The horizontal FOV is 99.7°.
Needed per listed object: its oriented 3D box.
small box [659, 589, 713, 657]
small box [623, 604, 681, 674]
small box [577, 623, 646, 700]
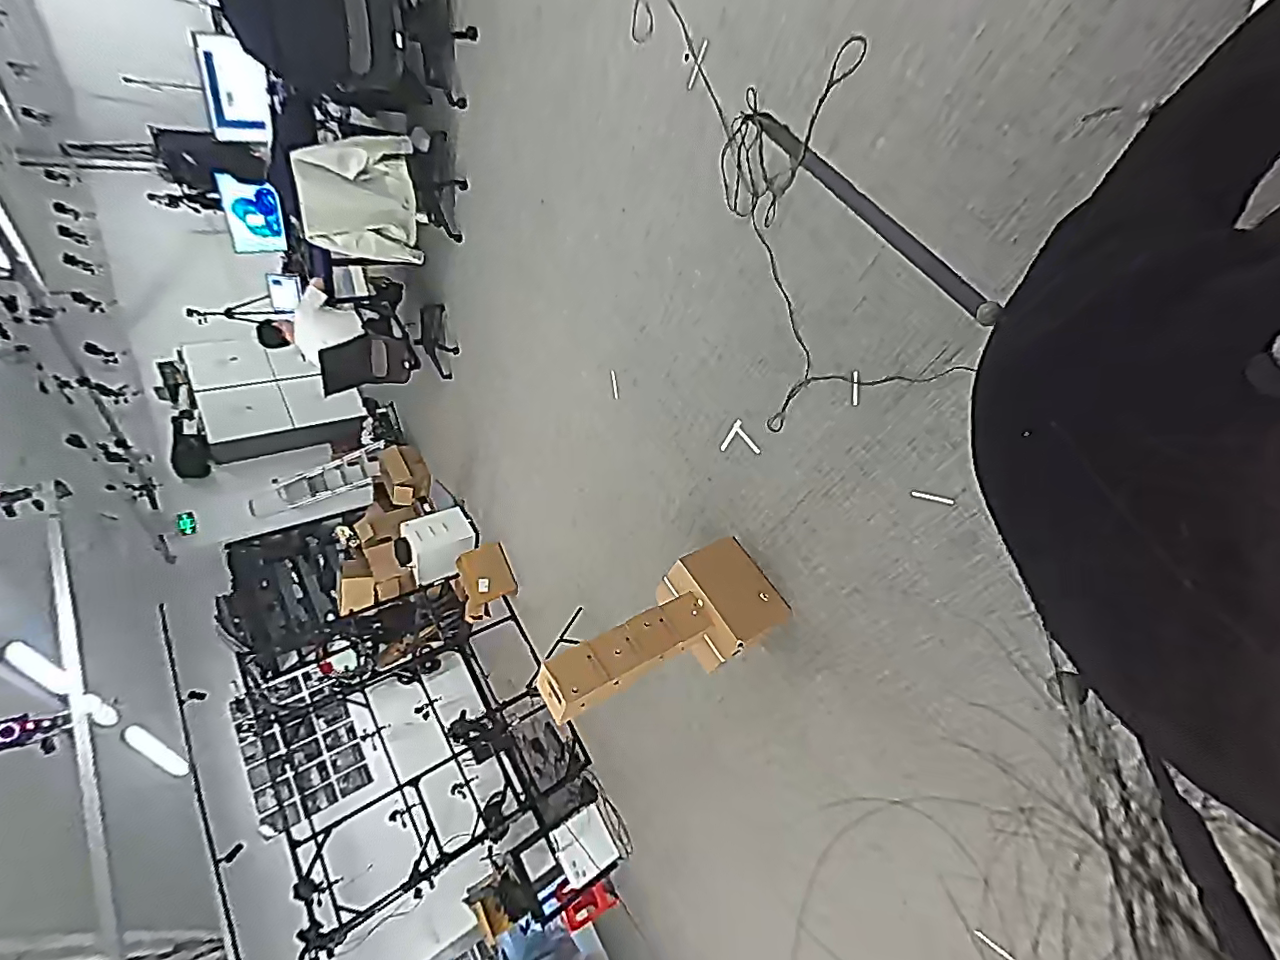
[{"bbox_3d":[0.158,0.559,2.117,0.168,0.176,0.179,53,141,24],"label":"small box"},{"bbox_3d":[0.030,0.595,2.025,0.168,0.176,0.179,53,143,26],"label":"small box"},{"bbox_3d":[-0.099,0.644,1.934,0.168,0.176,0.179,51,141,29],"label":"small box"}]
